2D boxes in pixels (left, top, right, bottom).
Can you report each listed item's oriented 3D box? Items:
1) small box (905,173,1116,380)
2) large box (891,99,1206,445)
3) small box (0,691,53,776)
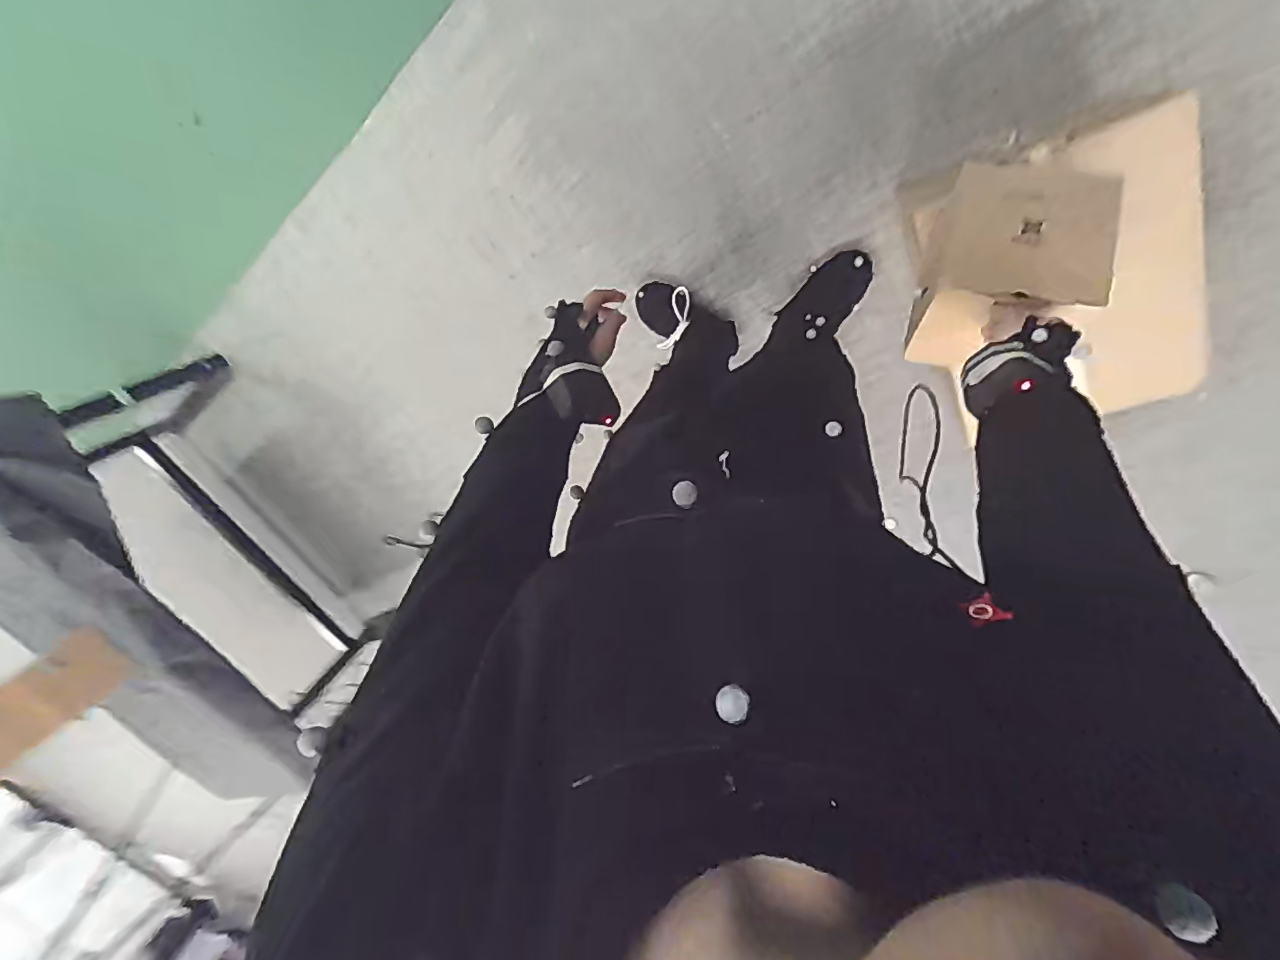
[{"bbox_3d":[0.447,-0.247,0.679,0.168,0.179,0.176,13,163,16],"label":"small box"},{"bbox_3d":[0.651,-0.336,0.907,0.320,0.320,0.408,-16,115,27],"label":"large box"},{"bbox_3d":[-1.522,0.603,1.237,0.168,0.176,0.179,-23,110,30],"label":"small box"}]
